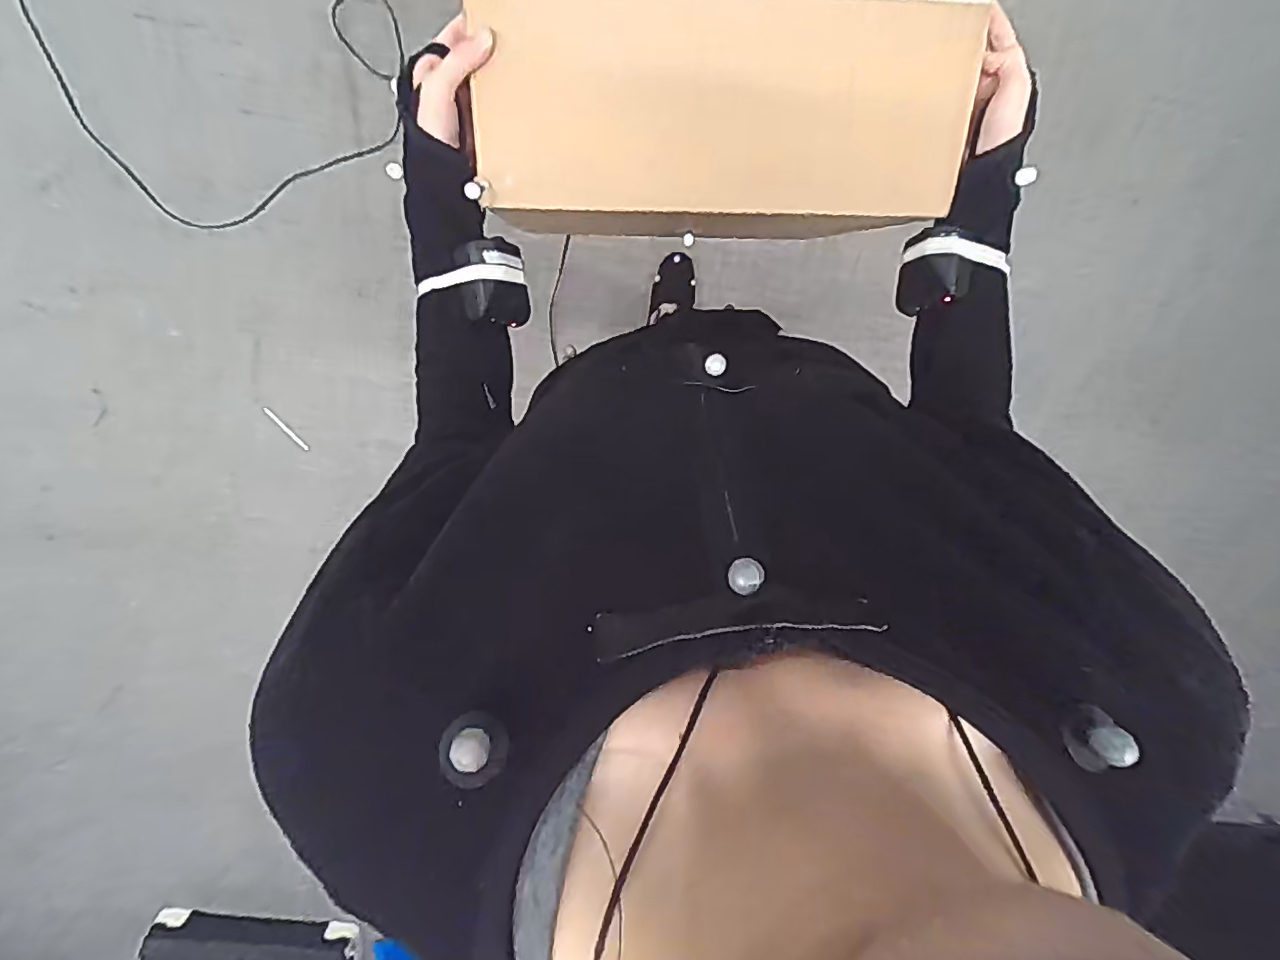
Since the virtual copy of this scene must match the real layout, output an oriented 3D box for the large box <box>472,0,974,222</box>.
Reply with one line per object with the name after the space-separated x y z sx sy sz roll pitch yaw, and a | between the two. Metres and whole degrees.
0.060 -0.441 0.550 0.408 0.320 0.320 -2 111 -4 | large box
